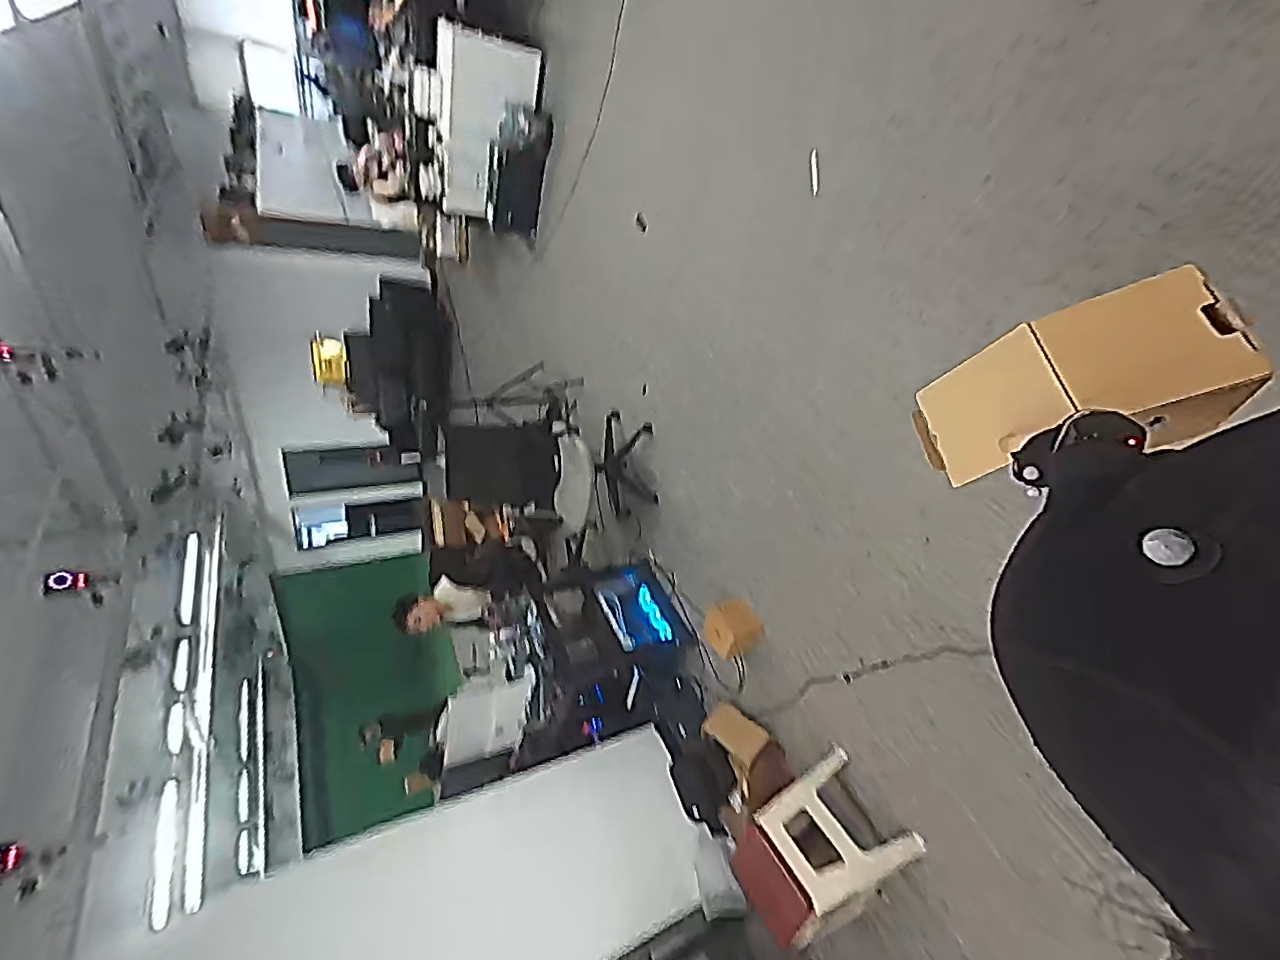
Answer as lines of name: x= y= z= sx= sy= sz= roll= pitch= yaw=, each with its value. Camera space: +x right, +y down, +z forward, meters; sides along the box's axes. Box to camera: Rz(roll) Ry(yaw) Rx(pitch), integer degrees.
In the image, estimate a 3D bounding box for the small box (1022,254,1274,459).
small box: x=0.622 y=-0.144 z=0.699 sx=0.179 sy=0.176 sz=0.168 roll=-18 pitch=66 yaw=23
